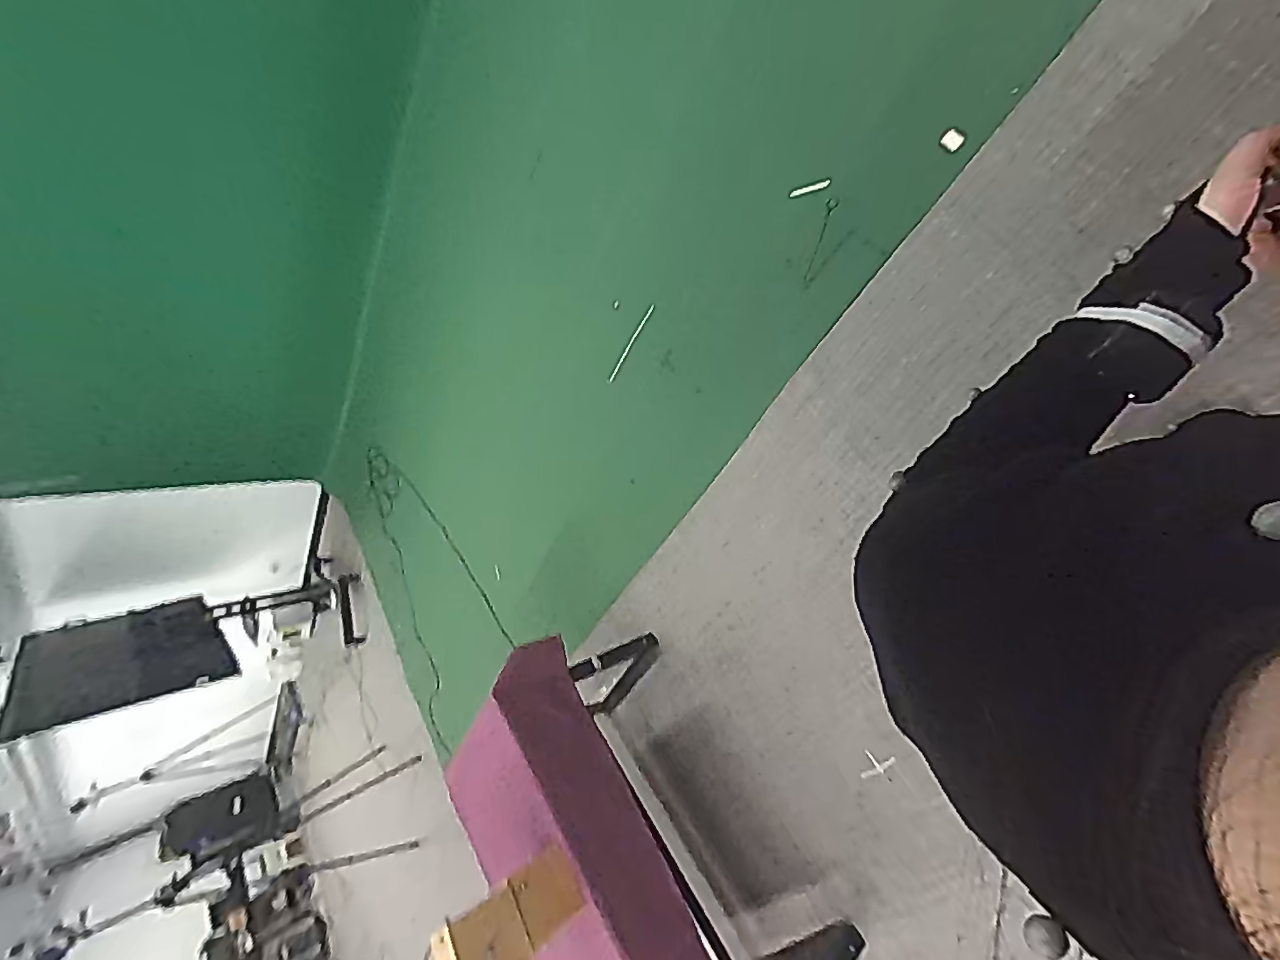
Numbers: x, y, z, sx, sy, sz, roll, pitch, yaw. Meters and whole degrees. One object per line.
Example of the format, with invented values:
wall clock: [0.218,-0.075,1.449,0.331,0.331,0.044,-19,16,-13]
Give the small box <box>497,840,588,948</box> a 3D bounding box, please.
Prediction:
small box: [-0.267,1.121,1.454,0.179,0.176,0.168,53,128,28]

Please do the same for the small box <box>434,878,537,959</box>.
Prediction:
small box: [-0.379,1.138,1.334,0.179,0.176,0.168,57,130,24]
